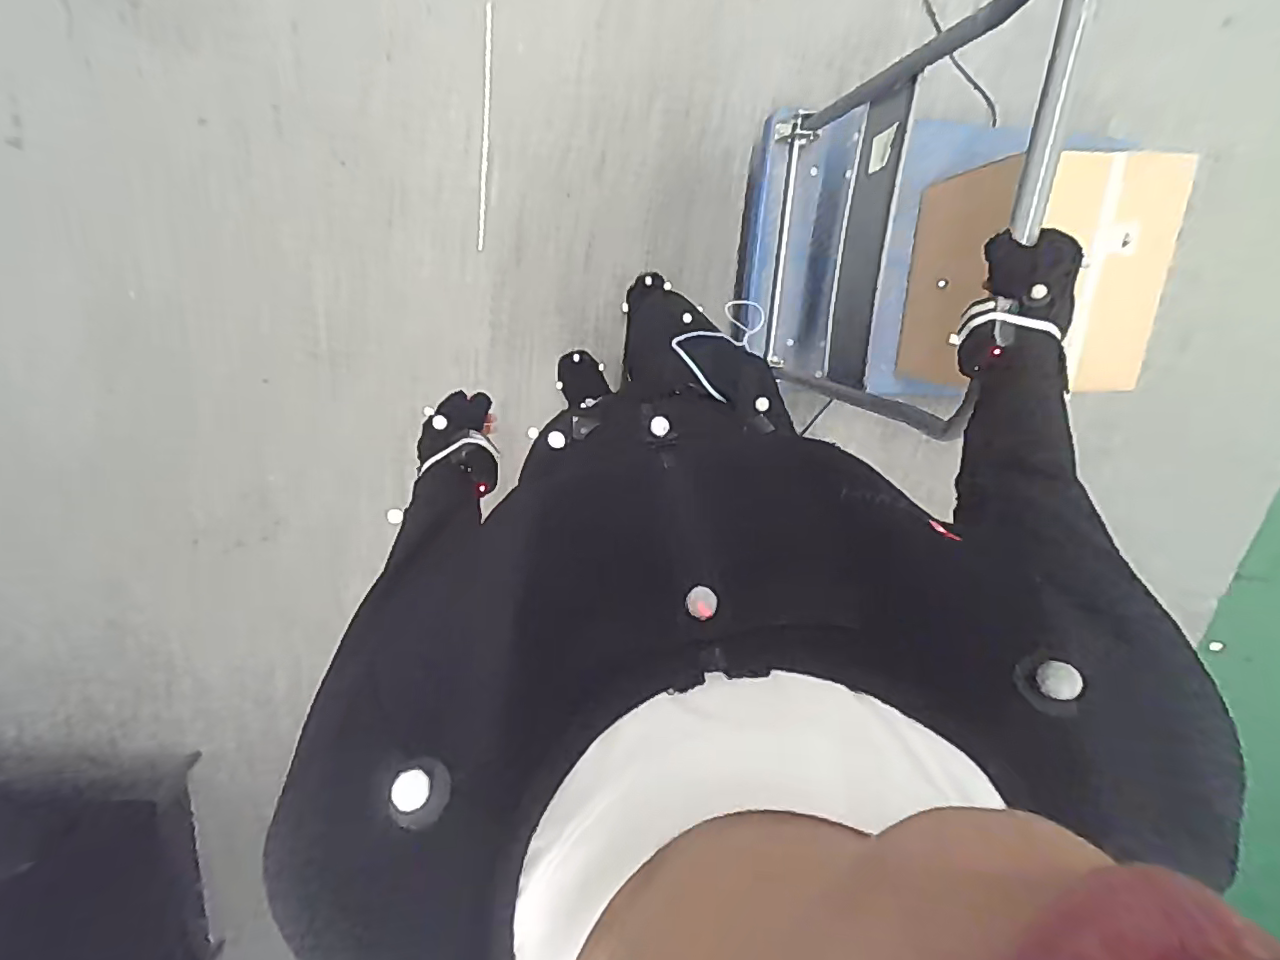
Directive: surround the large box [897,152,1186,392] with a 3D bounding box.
[{"bbox_3d":[0.769,-0.403,1.106,0.320,0.320,0.408,-2,107,-6],"label":"large box"}]
